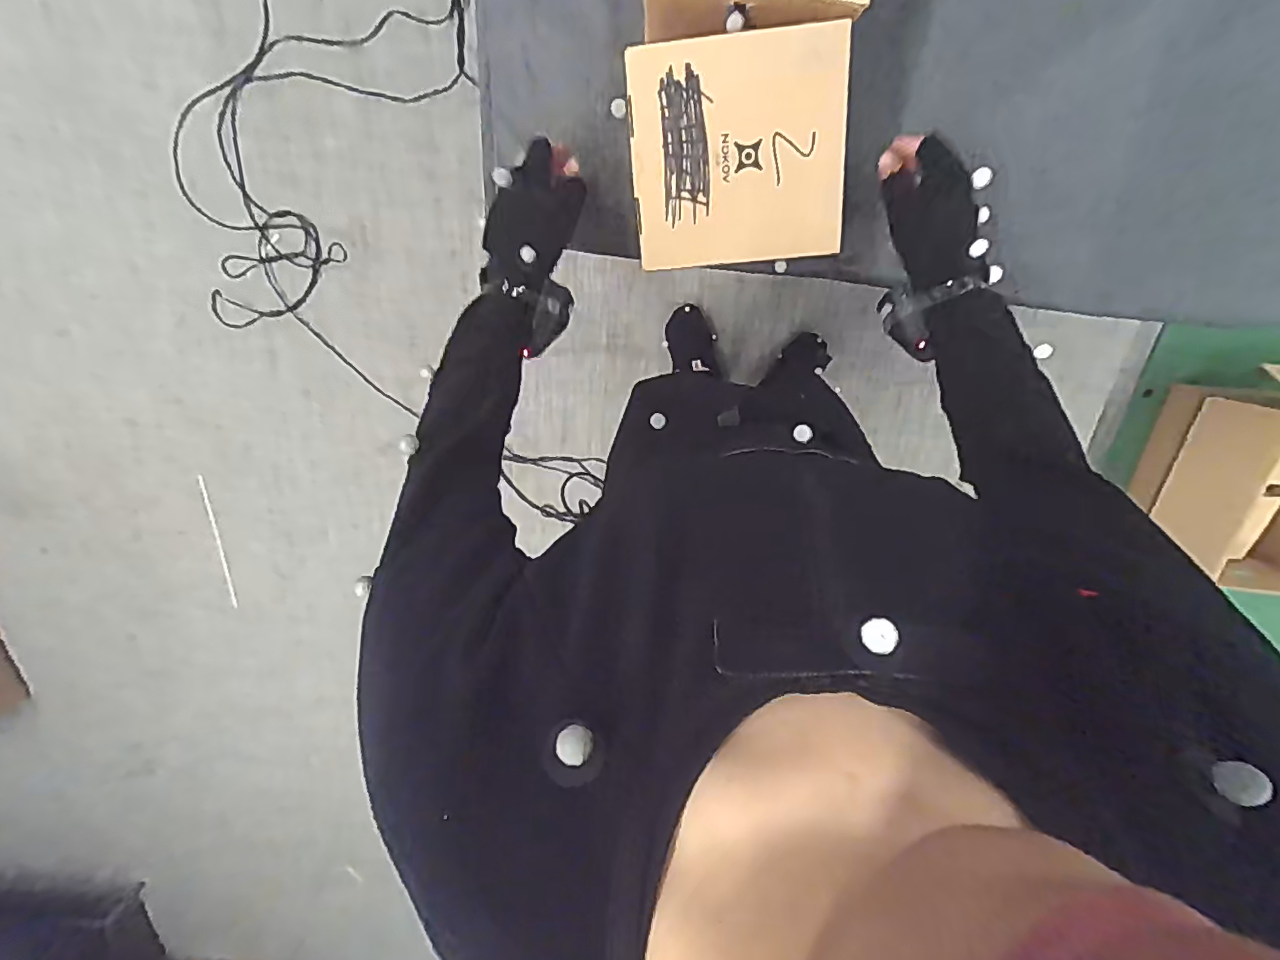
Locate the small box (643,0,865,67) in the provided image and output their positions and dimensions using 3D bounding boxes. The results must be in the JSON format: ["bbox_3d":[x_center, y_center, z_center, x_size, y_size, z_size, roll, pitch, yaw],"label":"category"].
[{"bbox_3d":[0.100,-0.473,0.448,0.179,0.176,0.168,9,112,0],"label":"small box"}]
